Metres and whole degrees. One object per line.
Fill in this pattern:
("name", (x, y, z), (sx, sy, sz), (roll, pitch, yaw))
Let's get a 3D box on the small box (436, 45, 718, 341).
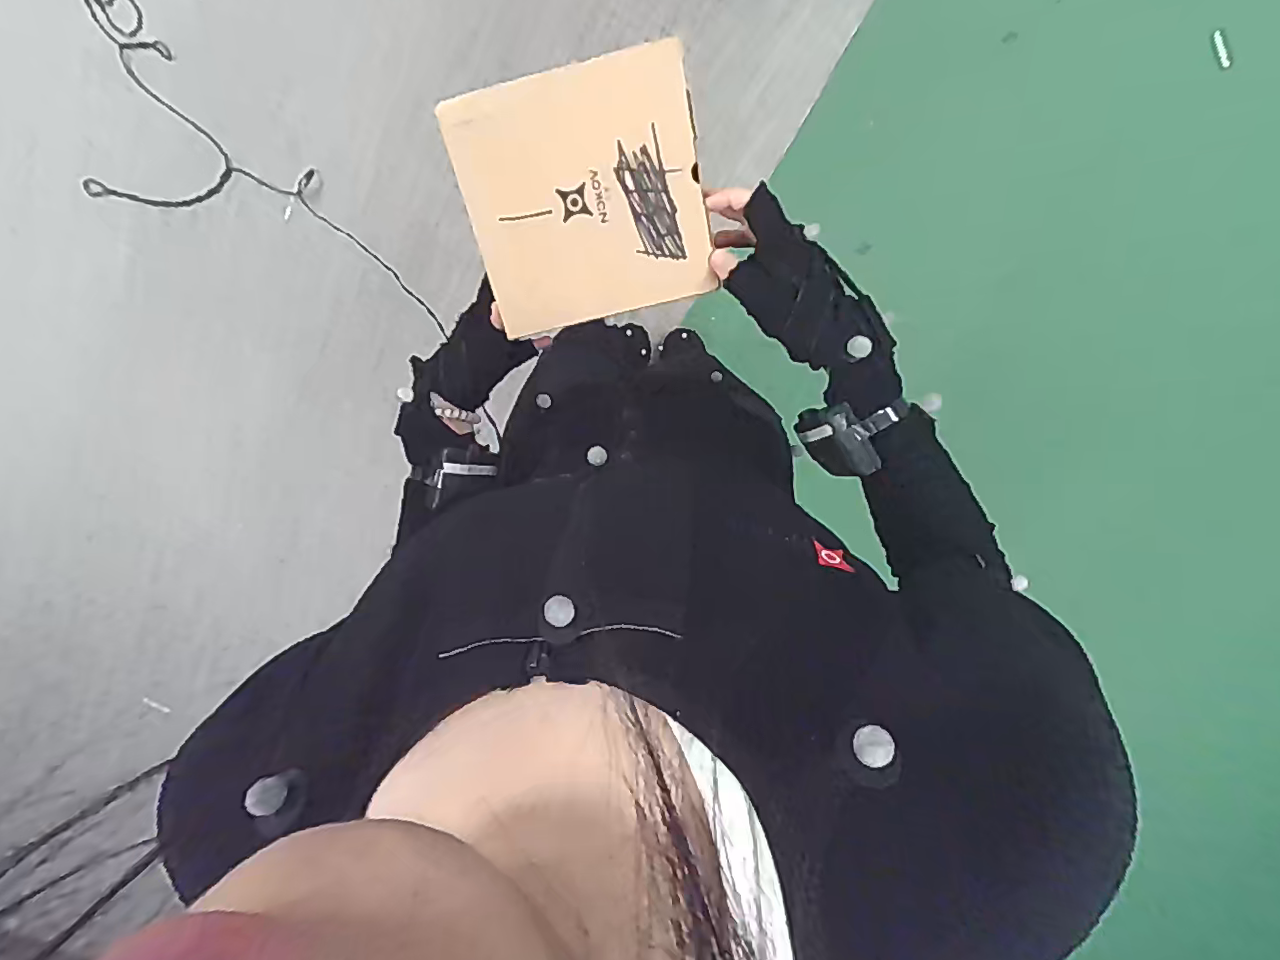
("small box", (-0.042, -0.231, 0.465), (0.179, 0.176, 0.168), (-12, 113, 3))
